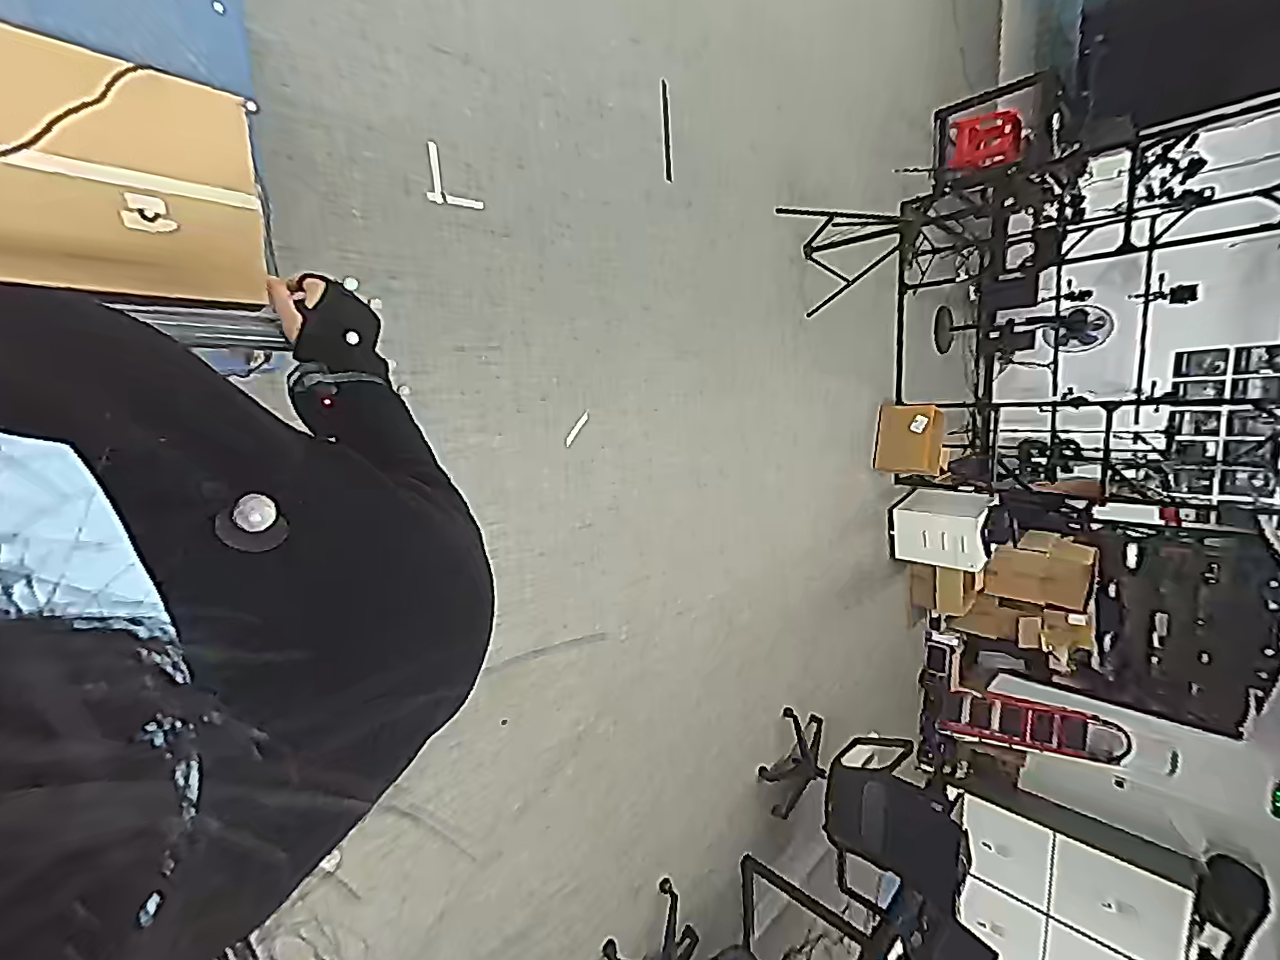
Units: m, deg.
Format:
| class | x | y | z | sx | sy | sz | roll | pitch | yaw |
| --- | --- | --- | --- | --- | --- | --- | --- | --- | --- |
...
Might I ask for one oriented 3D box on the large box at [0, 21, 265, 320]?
| class | x | y | z | sx | sy | sz | roll | pitch | yaw |
| --- | --- | --- | --- | --- | --- | --- | --- | --- | --- |
| large box | -0.862 | -0.433 | 0.822 | 0.408 | 0.320 | 0.320 | -10 | 102 | -45 |
